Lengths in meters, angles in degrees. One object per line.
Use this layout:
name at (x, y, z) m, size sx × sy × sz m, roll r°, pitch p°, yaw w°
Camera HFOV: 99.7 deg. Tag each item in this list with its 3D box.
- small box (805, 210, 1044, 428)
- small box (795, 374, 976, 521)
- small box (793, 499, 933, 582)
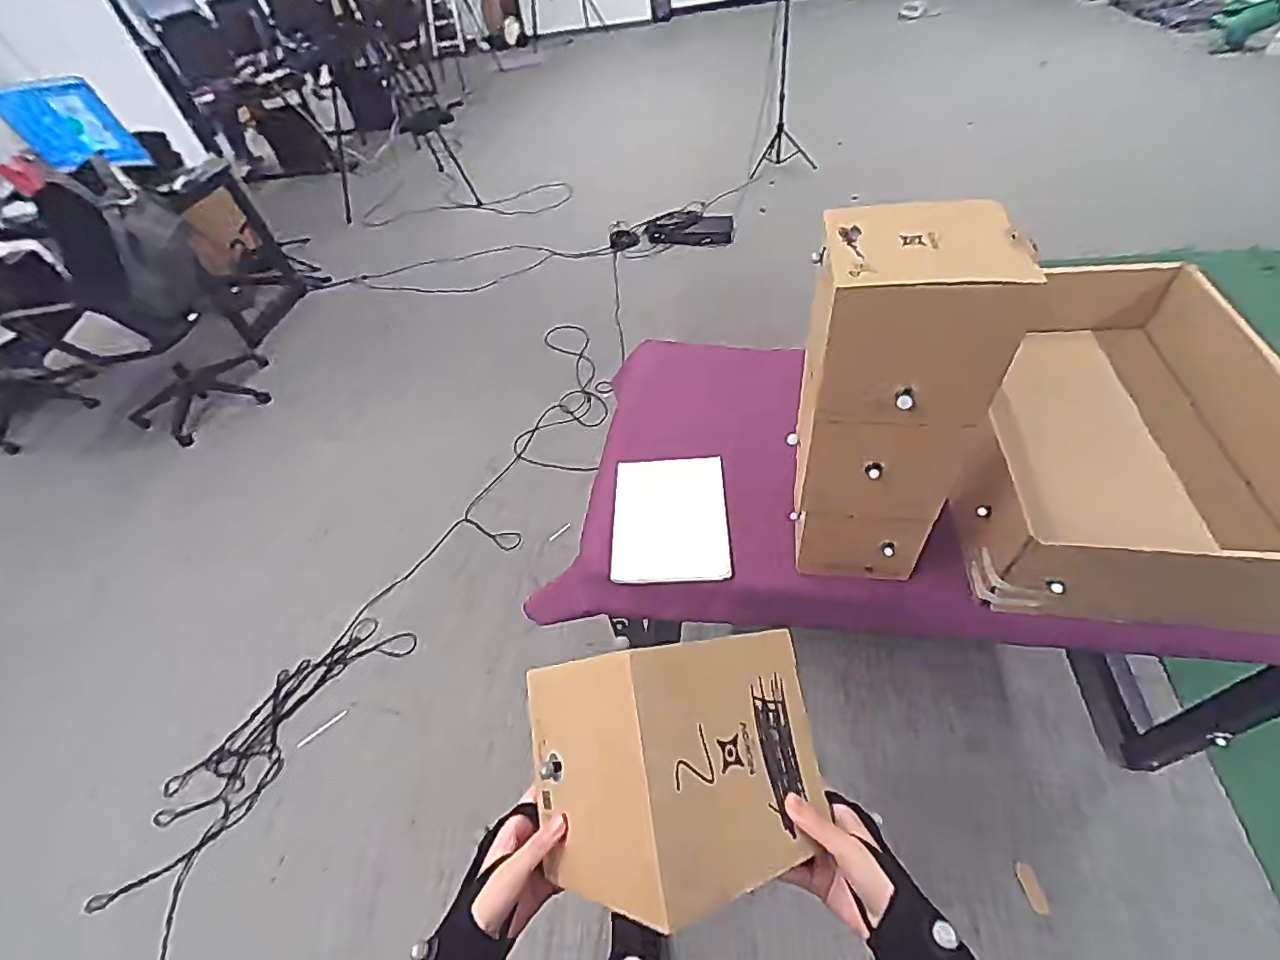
small box at (0.281, -0.171, 0.585) m, size 0.179 × 0.176 × 0.168 m, roll 3°, pitch 48°, yaw 11°
small box at (0.301, -0.062, 0.707) m, size 0.179 × 0.176 × 0.168 m, roll 3°, pitch 48°, yaw 12°
small box at (0.330, 0.039, 0.833) m, size 0.168 × 0.176 × 0.179 m, roll 3°, pitch 48°, yaw 12°
